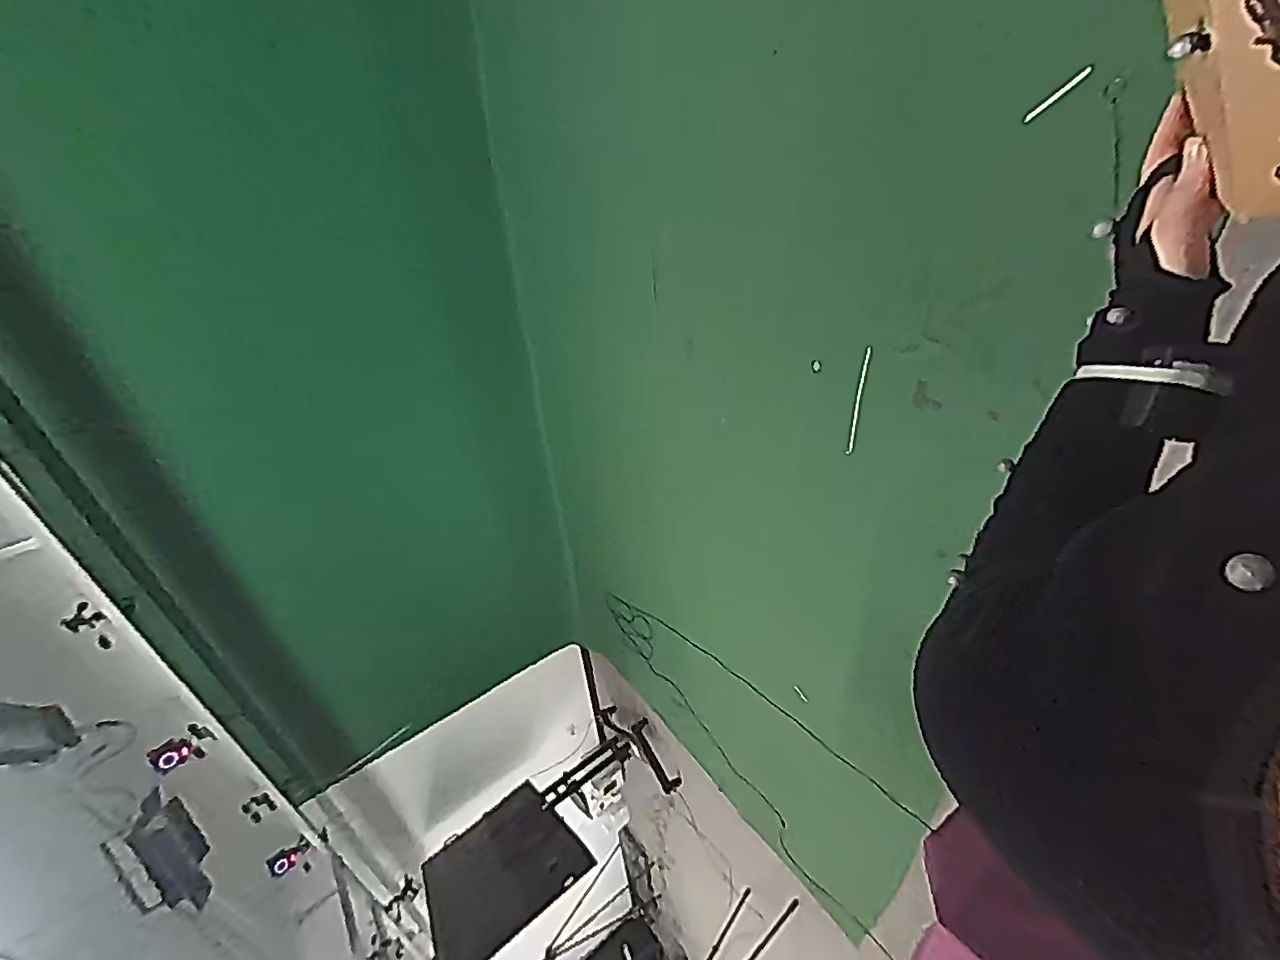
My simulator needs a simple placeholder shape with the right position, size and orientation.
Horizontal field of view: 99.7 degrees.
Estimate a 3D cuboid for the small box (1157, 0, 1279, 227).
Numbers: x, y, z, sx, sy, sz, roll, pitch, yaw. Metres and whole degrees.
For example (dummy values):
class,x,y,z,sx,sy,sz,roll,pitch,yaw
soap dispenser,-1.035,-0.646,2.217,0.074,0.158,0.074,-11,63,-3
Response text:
class,x,y,z,sx,sy,sz,roll,pitch,yaw
small box,0.401,-0.266,0.276,0.179,0.176,0.168,-12,116,43
